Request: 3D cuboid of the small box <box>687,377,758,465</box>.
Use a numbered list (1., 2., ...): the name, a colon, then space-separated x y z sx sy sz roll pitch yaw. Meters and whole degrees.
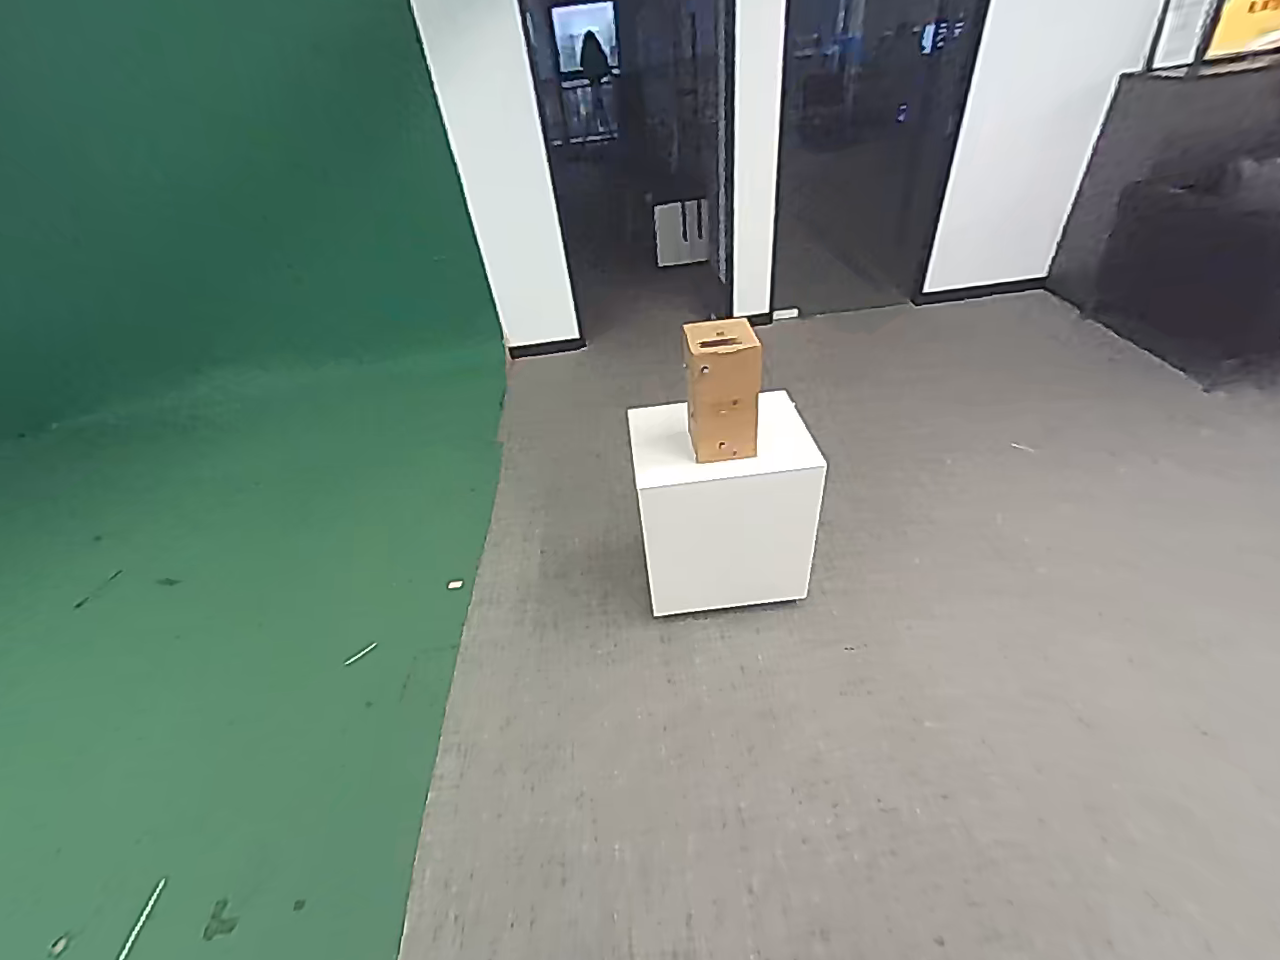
1. small box: 0.222 -0.163 1.489 0.168 0.176 0.179 -7 38 0
